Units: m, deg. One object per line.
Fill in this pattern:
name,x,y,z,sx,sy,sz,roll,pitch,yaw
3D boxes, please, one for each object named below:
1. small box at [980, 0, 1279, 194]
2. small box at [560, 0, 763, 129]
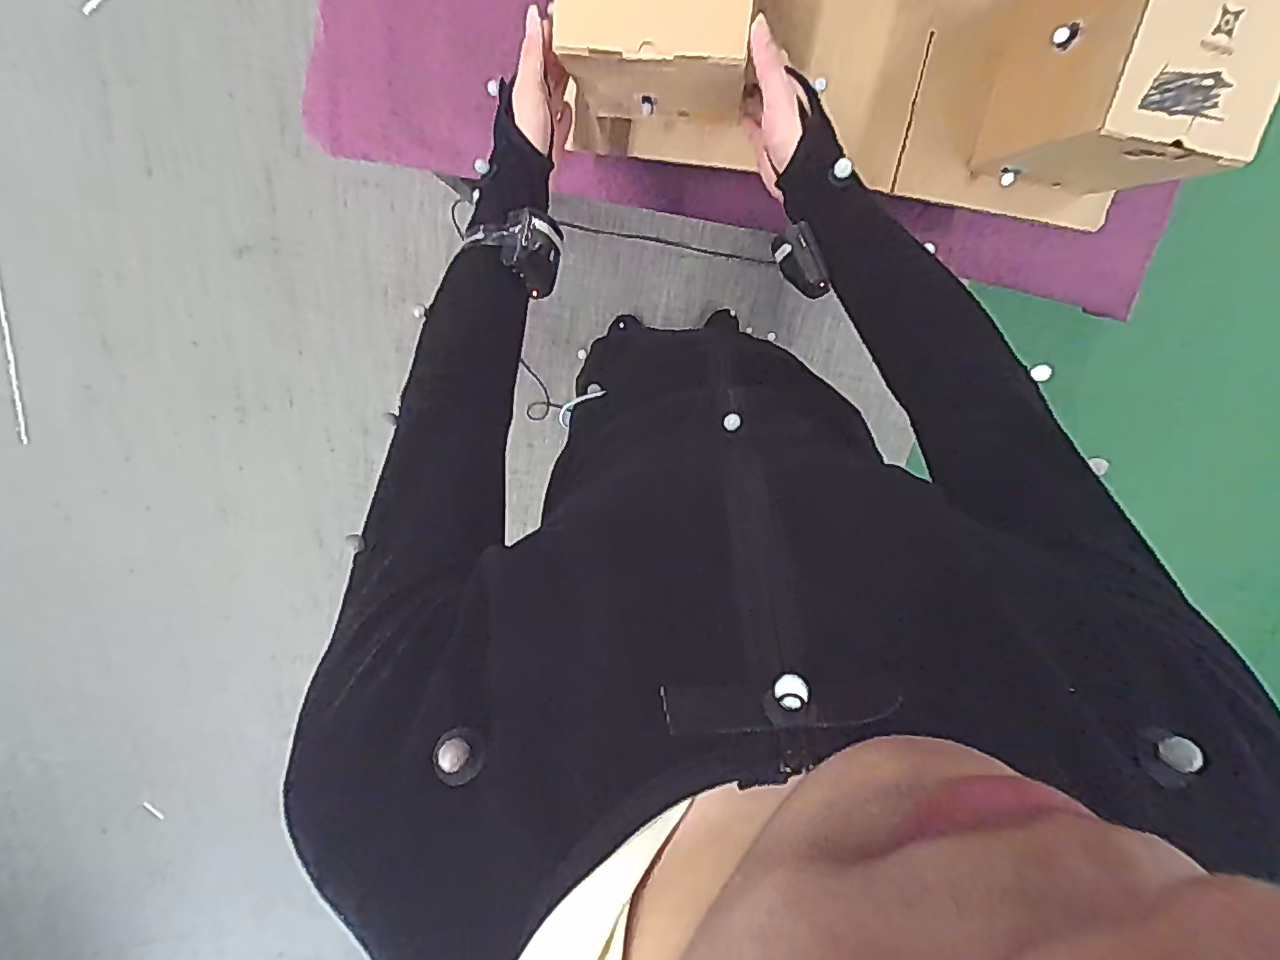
small box,0.482,-0.400,0.534,0.168,0.176,0.179,5,107,-10
small box,0.031,-0.454,0.500,0.168,0.176,0.179,7,110,6
